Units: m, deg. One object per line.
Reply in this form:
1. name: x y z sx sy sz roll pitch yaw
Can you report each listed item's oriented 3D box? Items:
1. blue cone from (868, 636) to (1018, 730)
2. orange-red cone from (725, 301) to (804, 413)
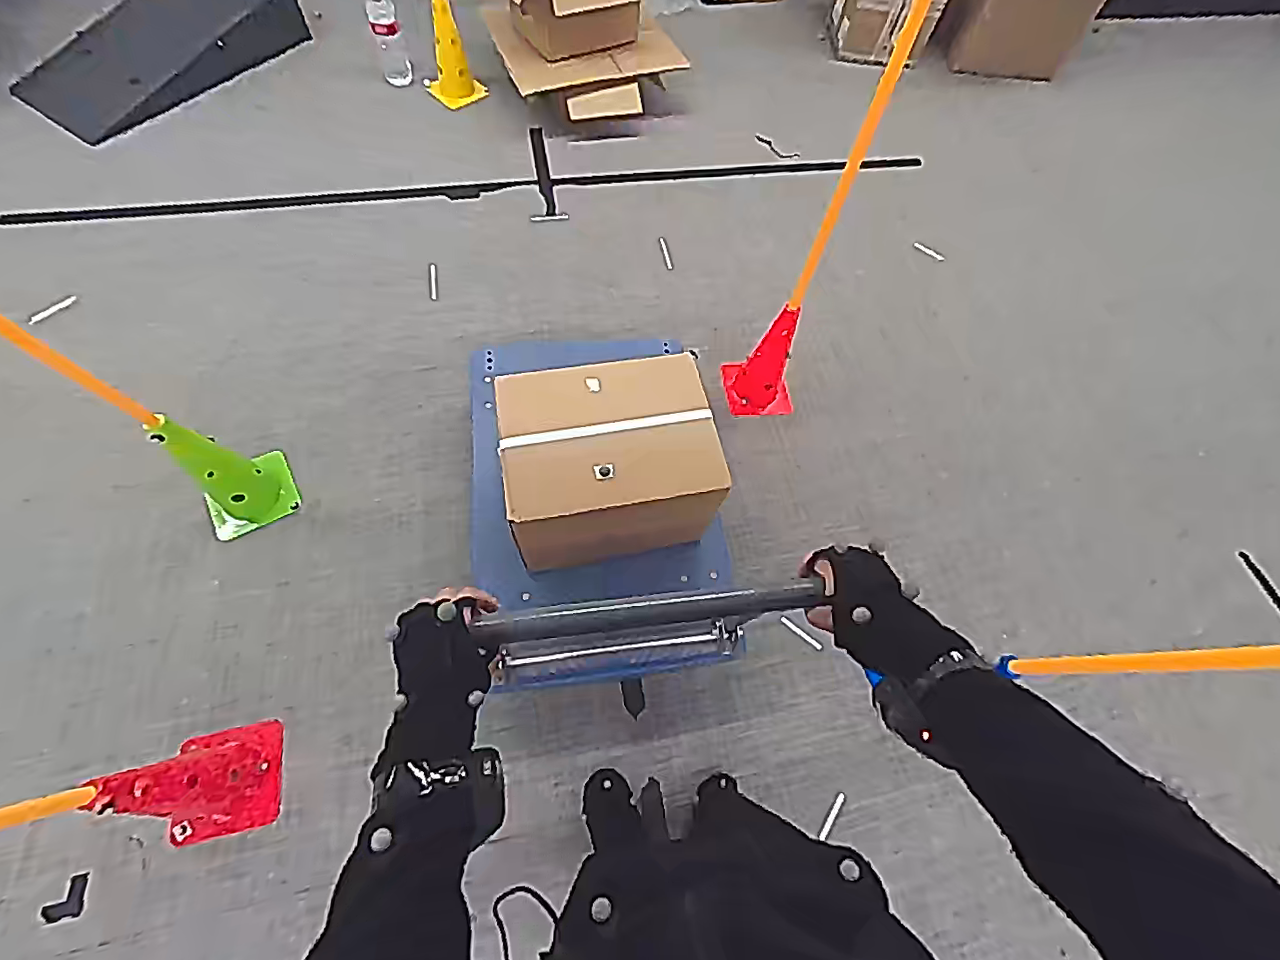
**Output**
1. blue cone: 0.686 0.423 1.180 0.193 0.380 0.192 -12 64 -11
2. orange-red cone: 0.385 -0.365 1.524 0.199 0.360 0.198 -2 65 -7
